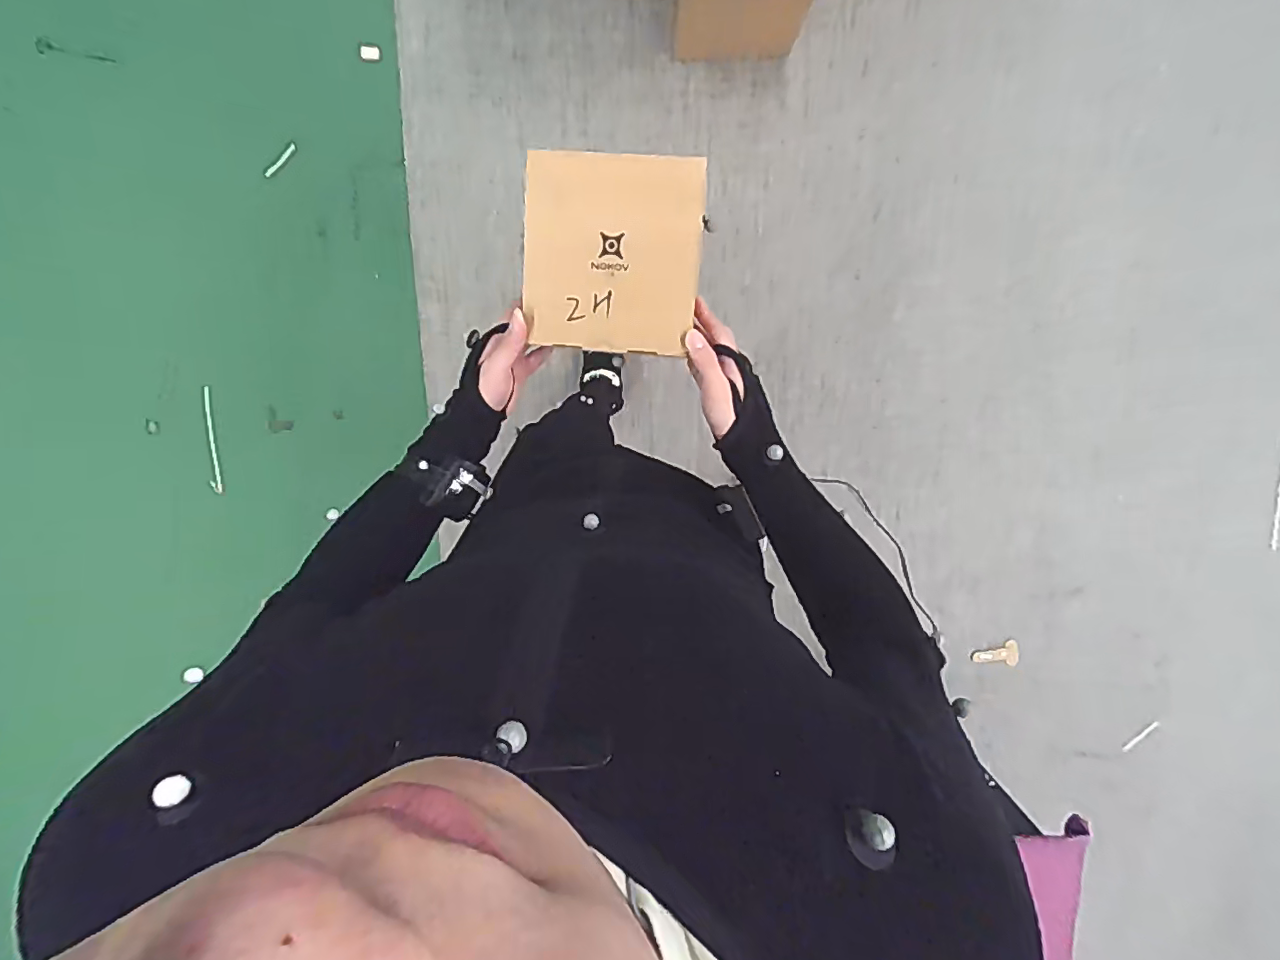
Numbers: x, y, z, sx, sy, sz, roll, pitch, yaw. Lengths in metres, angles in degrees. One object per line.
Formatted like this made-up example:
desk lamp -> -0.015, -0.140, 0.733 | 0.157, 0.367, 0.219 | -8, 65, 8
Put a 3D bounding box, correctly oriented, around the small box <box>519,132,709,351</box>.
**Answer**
small box -> -0.021, -0.237, 0.577 | 0.168, 0.176, 0.179 | 6, 103, 4
